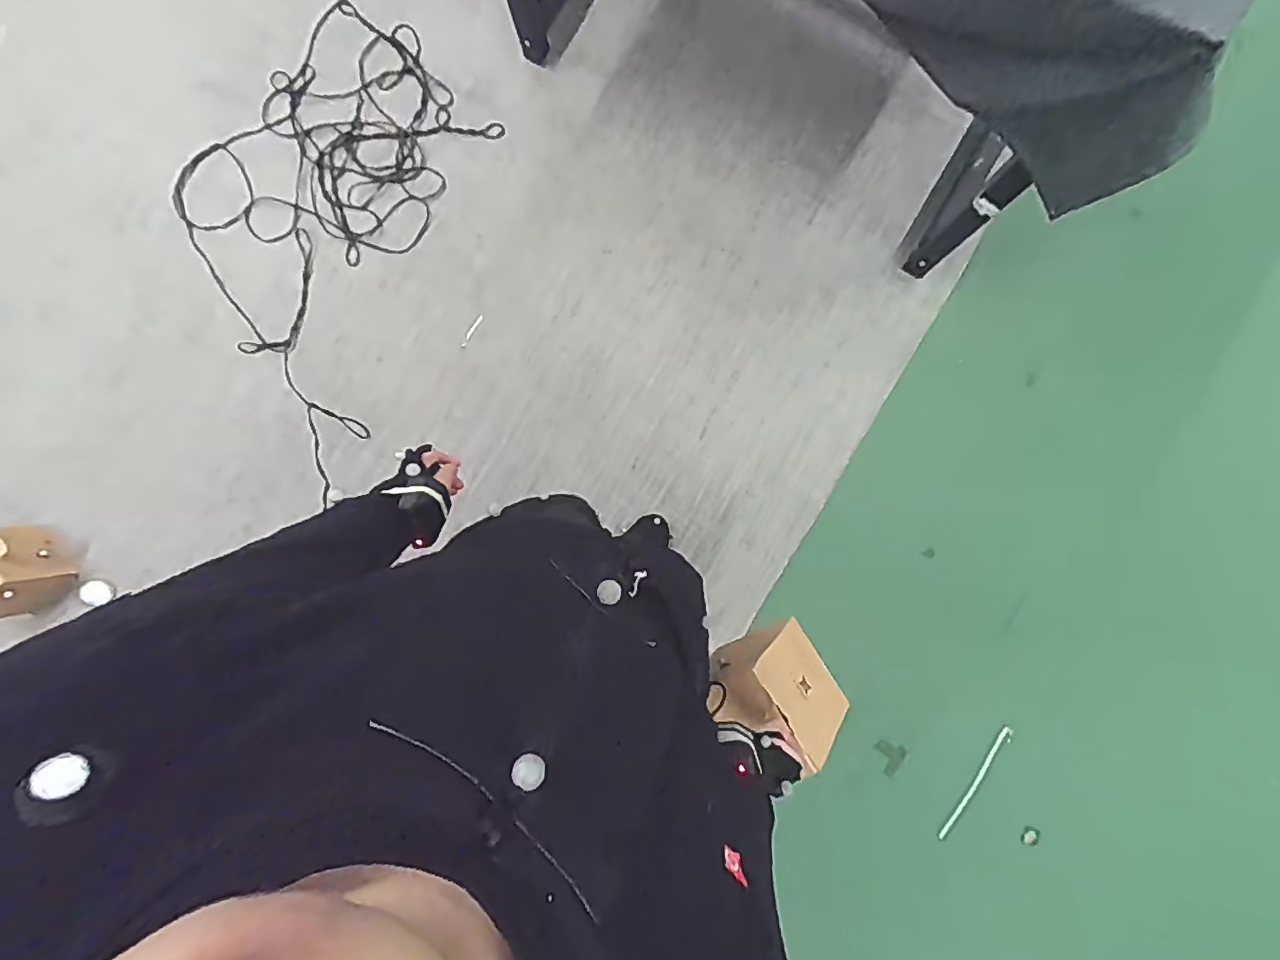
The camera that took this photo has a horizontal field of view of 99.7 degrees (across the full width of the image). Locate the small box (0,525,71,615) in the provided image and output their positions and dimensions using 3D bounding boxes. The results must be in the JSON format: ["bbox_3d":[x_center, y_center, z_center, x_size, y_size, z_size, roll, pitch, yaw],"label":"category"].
[{"bbox_3d":[-1.589,0.228,1.330,0.179,0.176,0.168,-39,87,0],"label":"small box"}]

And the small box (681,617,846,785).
[{"bbox_3d":[0.188,0.345,0.848,0.176,0.179,0.168,-33,82,34],"label":"small box"}]
